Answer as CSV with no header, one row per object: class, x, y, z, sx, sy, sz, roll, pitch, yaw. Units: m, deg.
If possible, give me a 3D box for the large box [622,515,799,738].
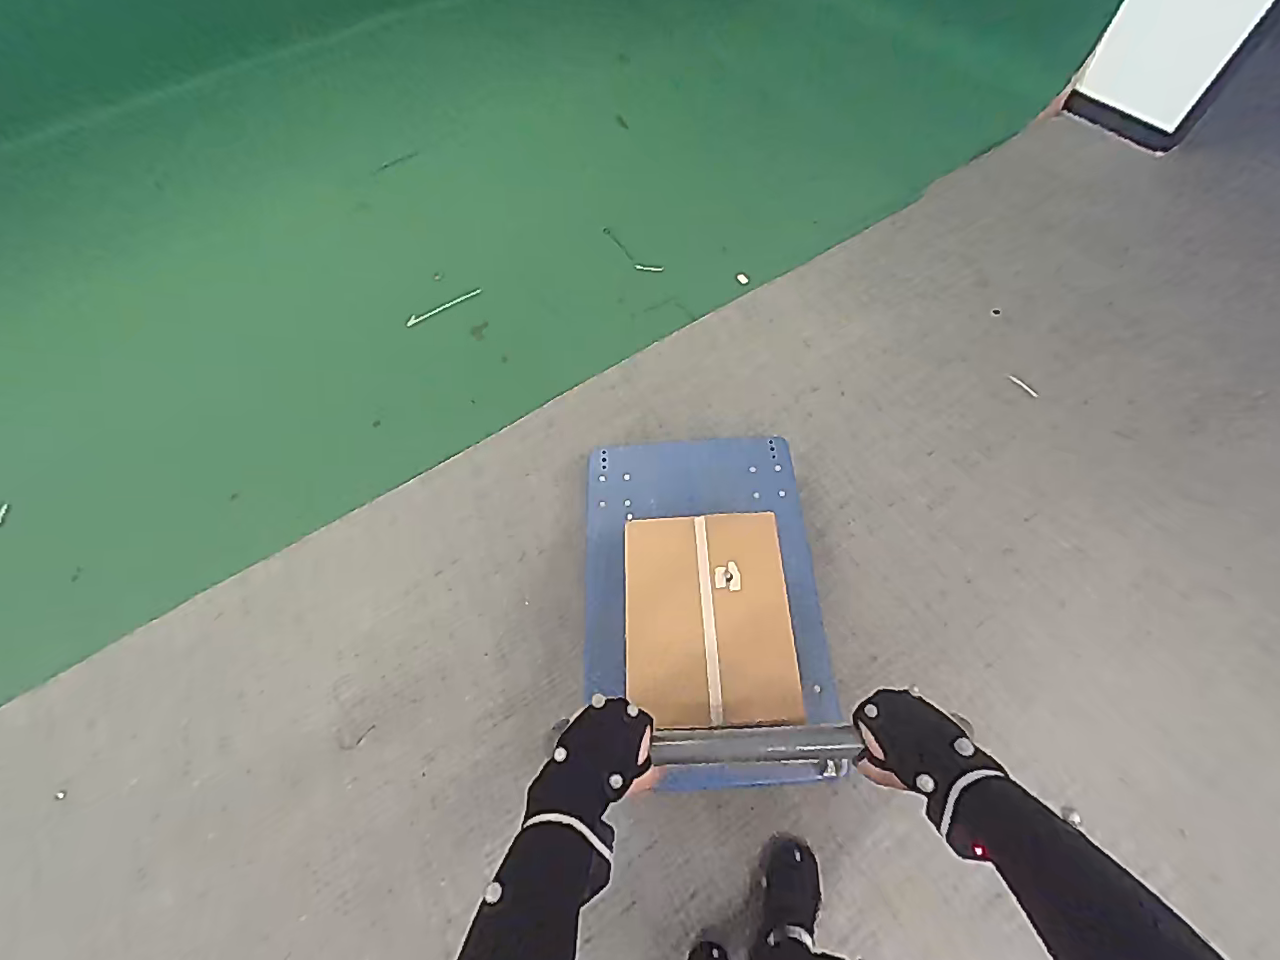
large box,0.135,0.330,1.184,0.320,0.320,0.408,-3,61,3
